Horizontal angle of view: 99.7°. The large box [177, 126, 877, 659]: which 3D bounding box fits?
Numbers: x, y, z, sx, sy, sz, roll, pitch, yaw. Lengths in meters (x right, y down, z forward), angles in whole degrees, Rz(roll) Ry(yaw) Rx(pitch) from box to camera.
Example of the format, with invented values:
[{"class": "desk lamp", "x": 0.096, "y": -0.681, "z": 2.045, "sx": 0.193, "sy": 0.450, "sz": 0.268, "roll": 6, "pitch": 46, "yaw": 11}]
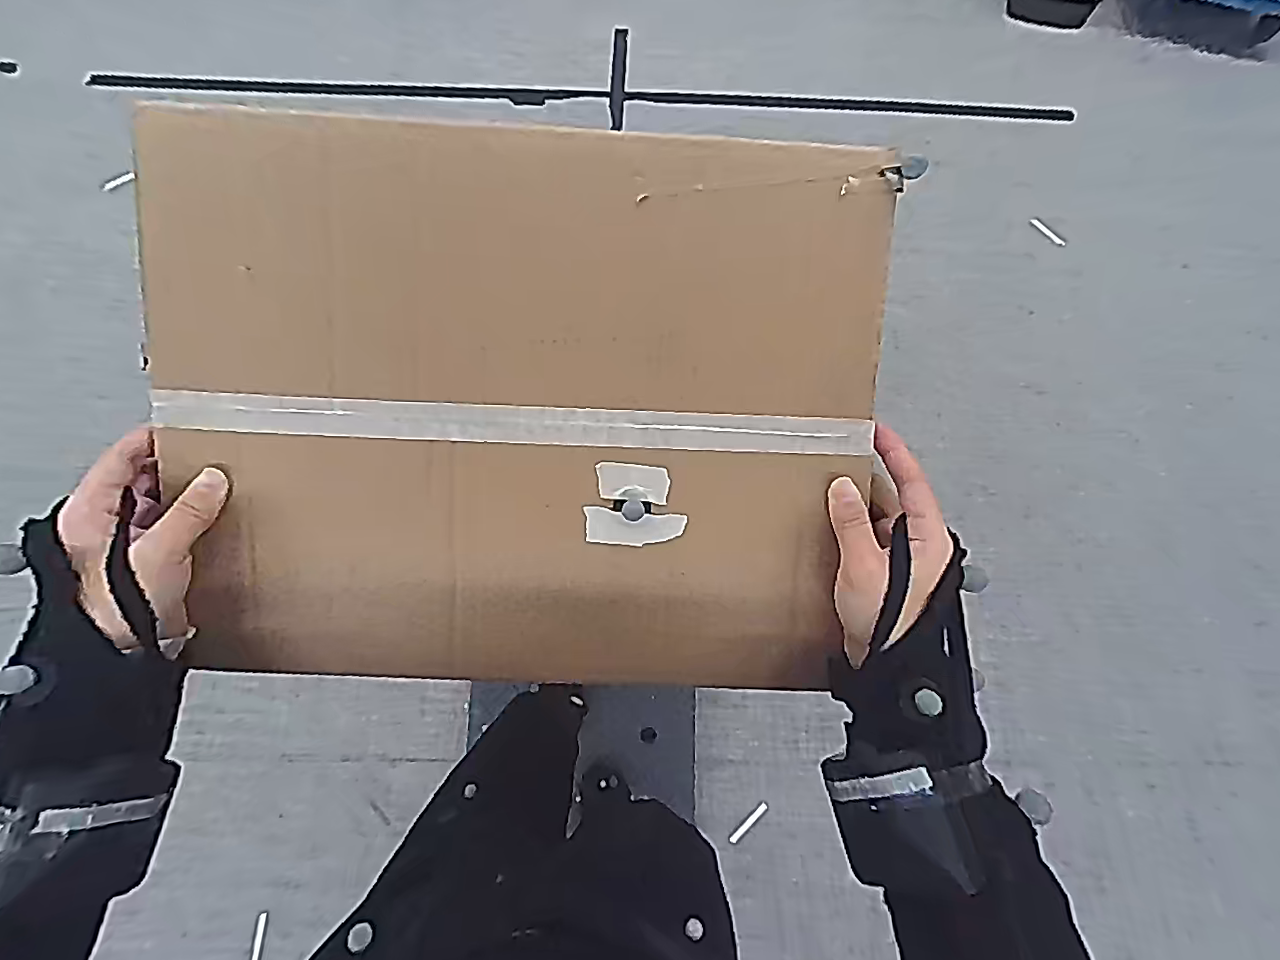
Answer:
[{"class": "large box", "x": -0.070, "y": -0.058, "z": 0.471, "sx": 0.408, "sy": 0.320, "sz": 0.320, "roll": 2, "pitch": 98, "yaw": -2}]
